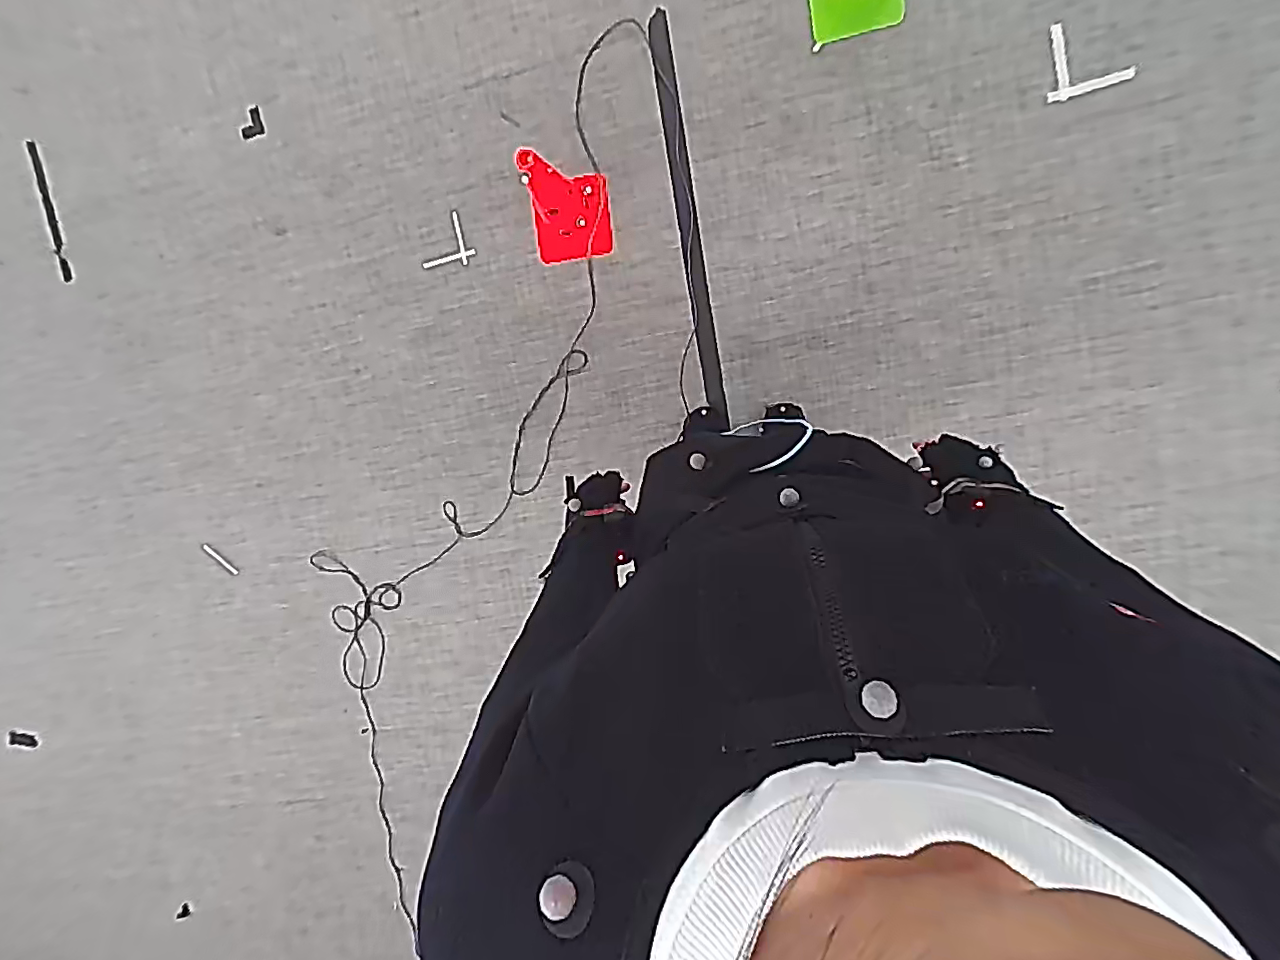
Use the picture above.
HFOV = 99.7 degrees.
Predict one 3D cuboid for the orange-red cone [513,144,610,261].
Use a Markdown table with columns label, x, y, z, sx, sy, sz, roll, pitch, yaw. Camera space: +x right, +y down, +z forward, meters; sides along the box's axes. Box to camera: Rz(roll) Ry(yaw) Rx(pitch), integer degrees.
| label | x | y | z | sx | sy | sz | roll | pitch | yaw |
| --- | --- | --- | --- | --- | --- | --- | --- | --- | --- |
| orange-red cone | -0.204 | -0.648 | 1.215 | 0.199 | 0.360 | 0.198 | -4 | 96 | 10 |

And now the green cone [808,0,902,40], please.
| label | x | y | z | sx | sy | sz | roll | pitch | yaw |
| --- | --- | --- | --- | --- | --- | --- | --- | --- | --- |
| green cone | 0.458 | -1.093 | 1.051 | 0.202 | 0.368 | 0.200 | -9 | 97 | 8 |
